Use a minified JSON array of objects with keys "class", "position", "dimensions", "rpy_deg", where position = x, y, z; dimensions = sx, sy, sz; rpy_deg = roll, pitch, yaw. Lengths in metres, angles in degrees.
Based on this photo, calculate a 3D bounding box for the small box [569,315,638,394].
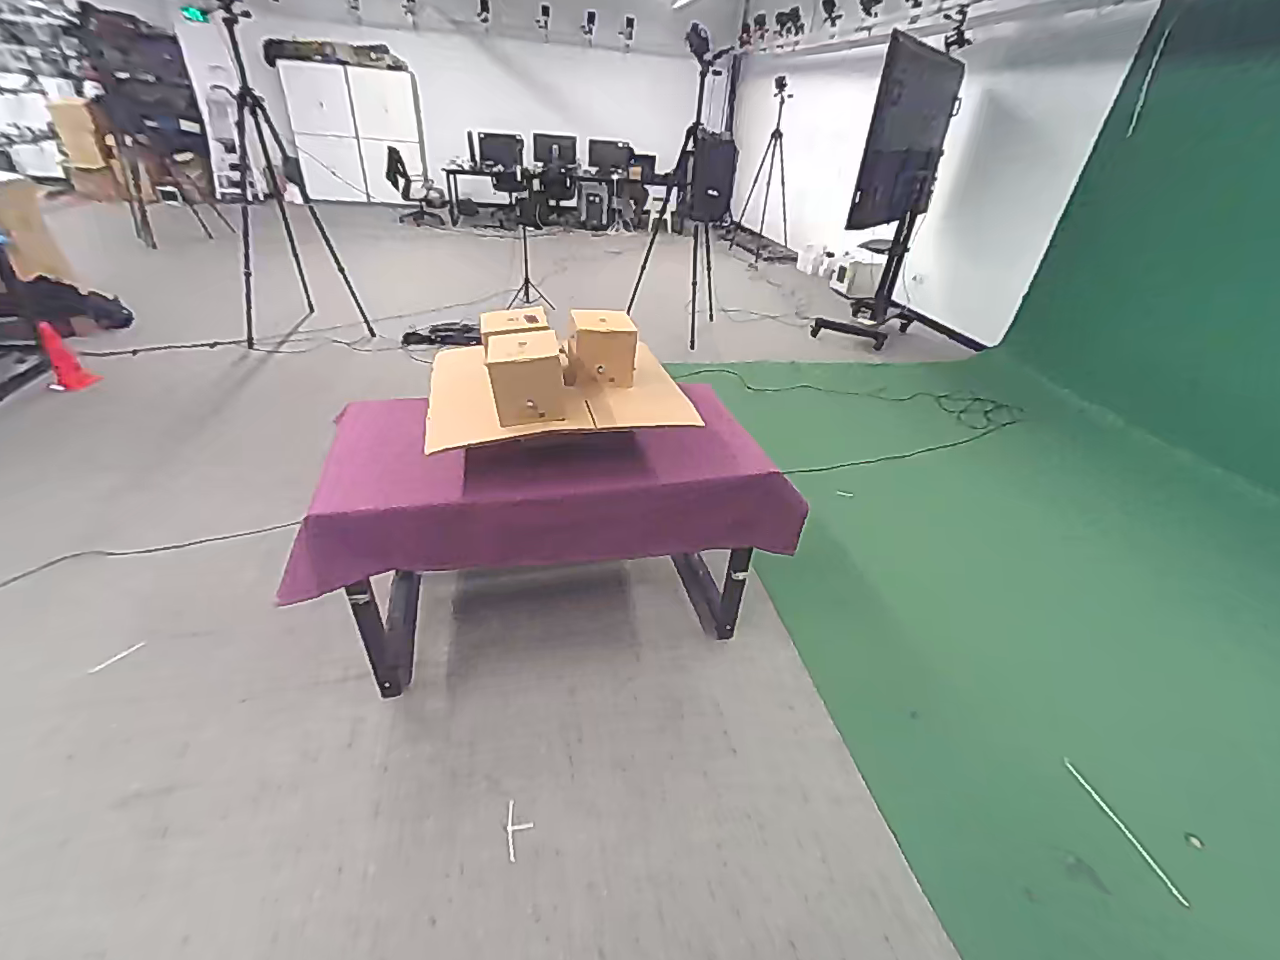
[{"class":"small box","position":[-0.112,-0.361,1.552],"dimensions":[0.168,0.176,0.179],"rpy_deg":[-3,35,-14]}]
